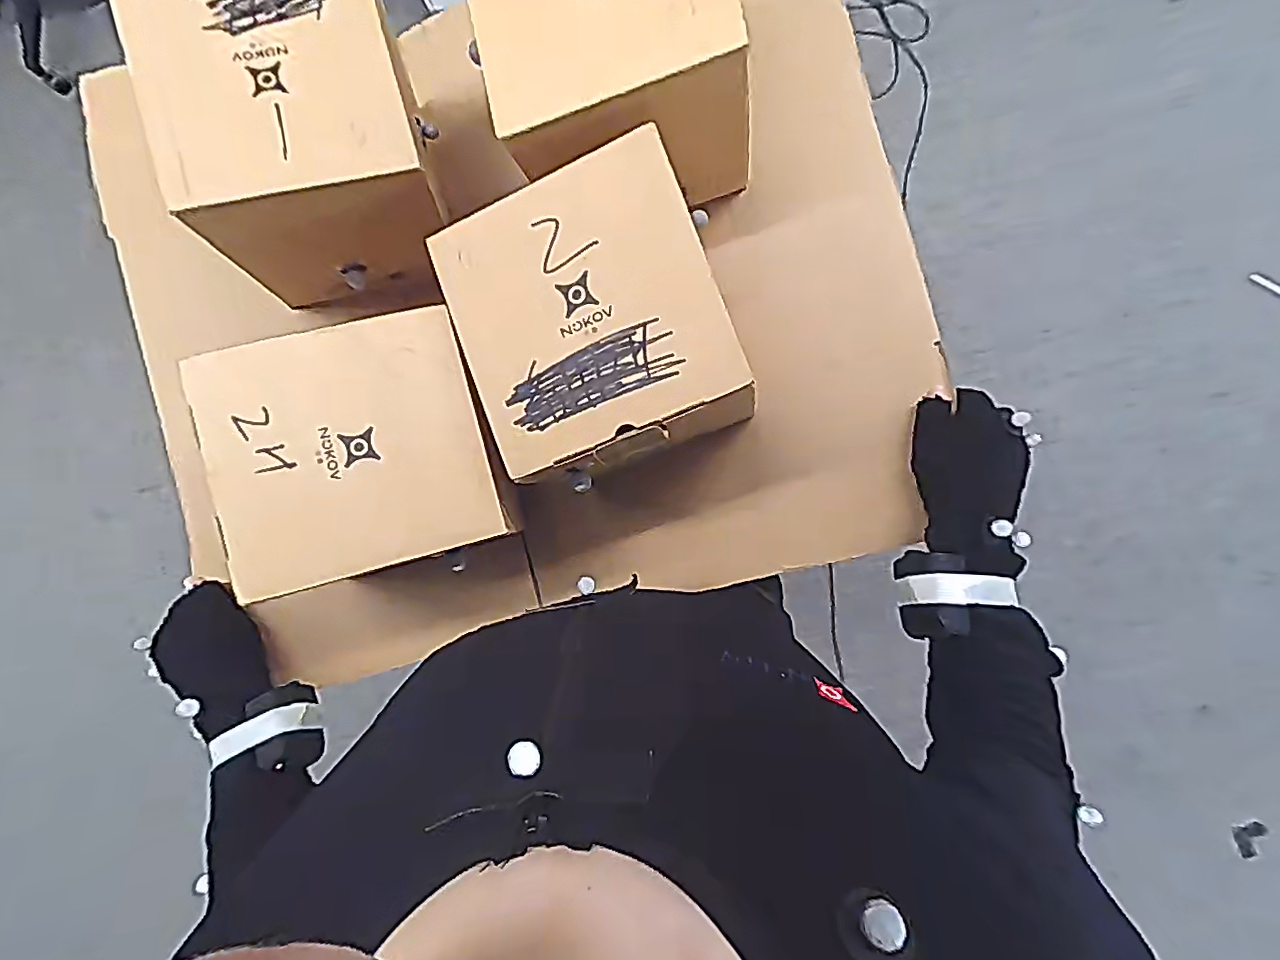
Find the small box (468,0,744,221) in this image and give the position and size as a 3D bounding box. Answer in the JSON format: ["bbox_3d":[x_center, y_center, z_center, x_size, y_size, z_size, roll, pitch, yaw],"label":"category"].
[{"bbox_3d":[-0.017,-0.327,0.415,0.168,0.176,0.179,-13,87,11],"label":"small box"}]
